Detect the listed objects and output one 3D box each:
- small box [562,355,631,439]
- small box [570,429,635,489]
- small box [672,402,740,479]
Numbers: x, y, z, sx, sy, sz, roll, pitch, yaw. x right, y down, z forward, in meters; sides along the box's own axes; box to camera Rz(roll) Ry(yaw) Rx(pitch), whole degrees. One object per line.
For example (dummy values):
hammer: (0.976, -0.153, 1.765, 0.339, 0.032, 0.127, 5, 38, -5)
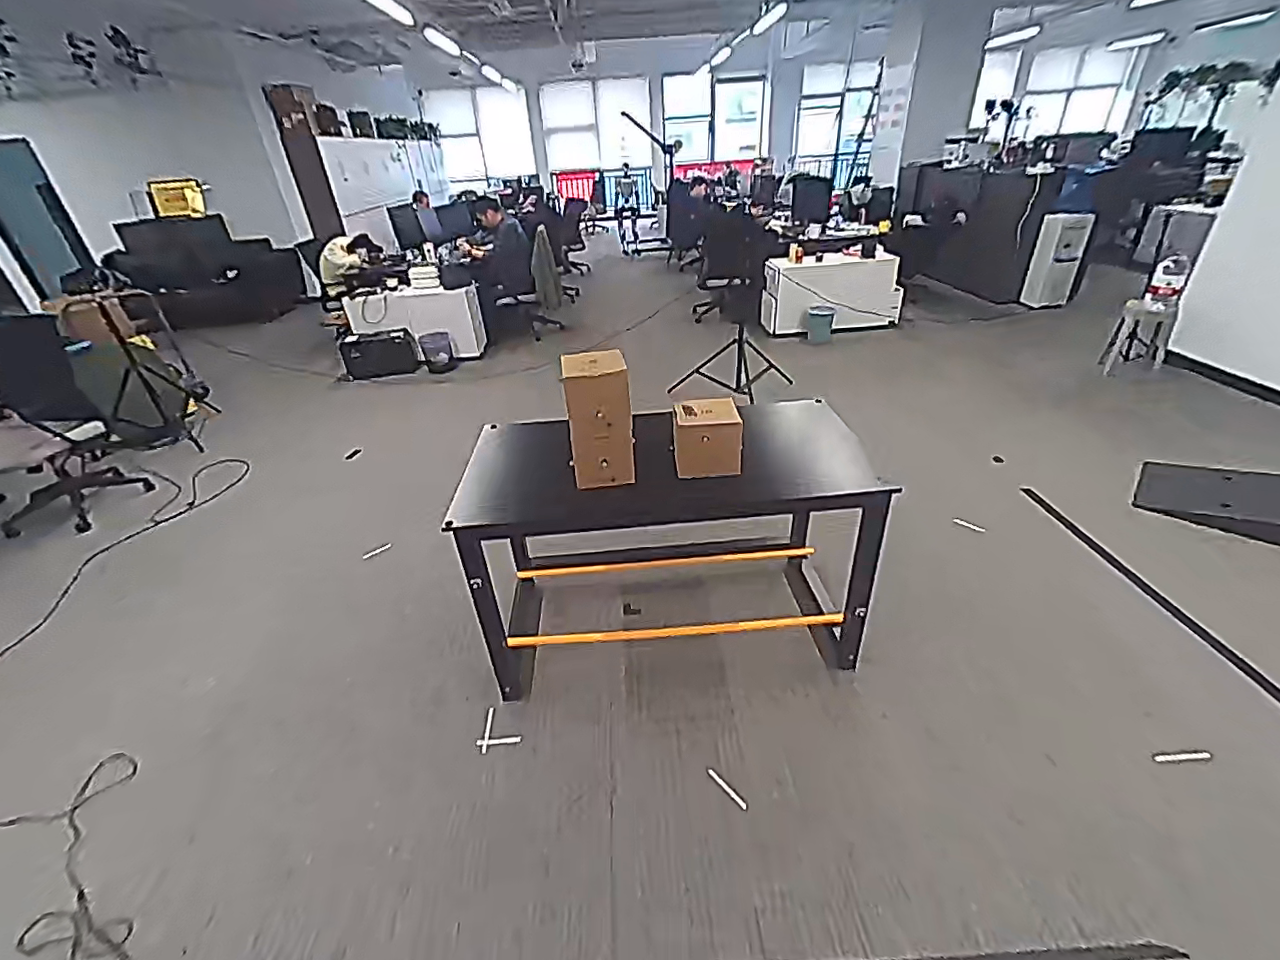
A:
small box: (-0.119, -0.228, 1.475, 0.168, 0.176, 0.179, -8, 31, -5)
small box: (-0.108, -0.084, 1.558, 0.168, 0.176, 0.179, -7, 32, -4)
small box: (0.189, -0.112, 1.562, 0.179, 0.176, 0.168, -4, 31, 0)
